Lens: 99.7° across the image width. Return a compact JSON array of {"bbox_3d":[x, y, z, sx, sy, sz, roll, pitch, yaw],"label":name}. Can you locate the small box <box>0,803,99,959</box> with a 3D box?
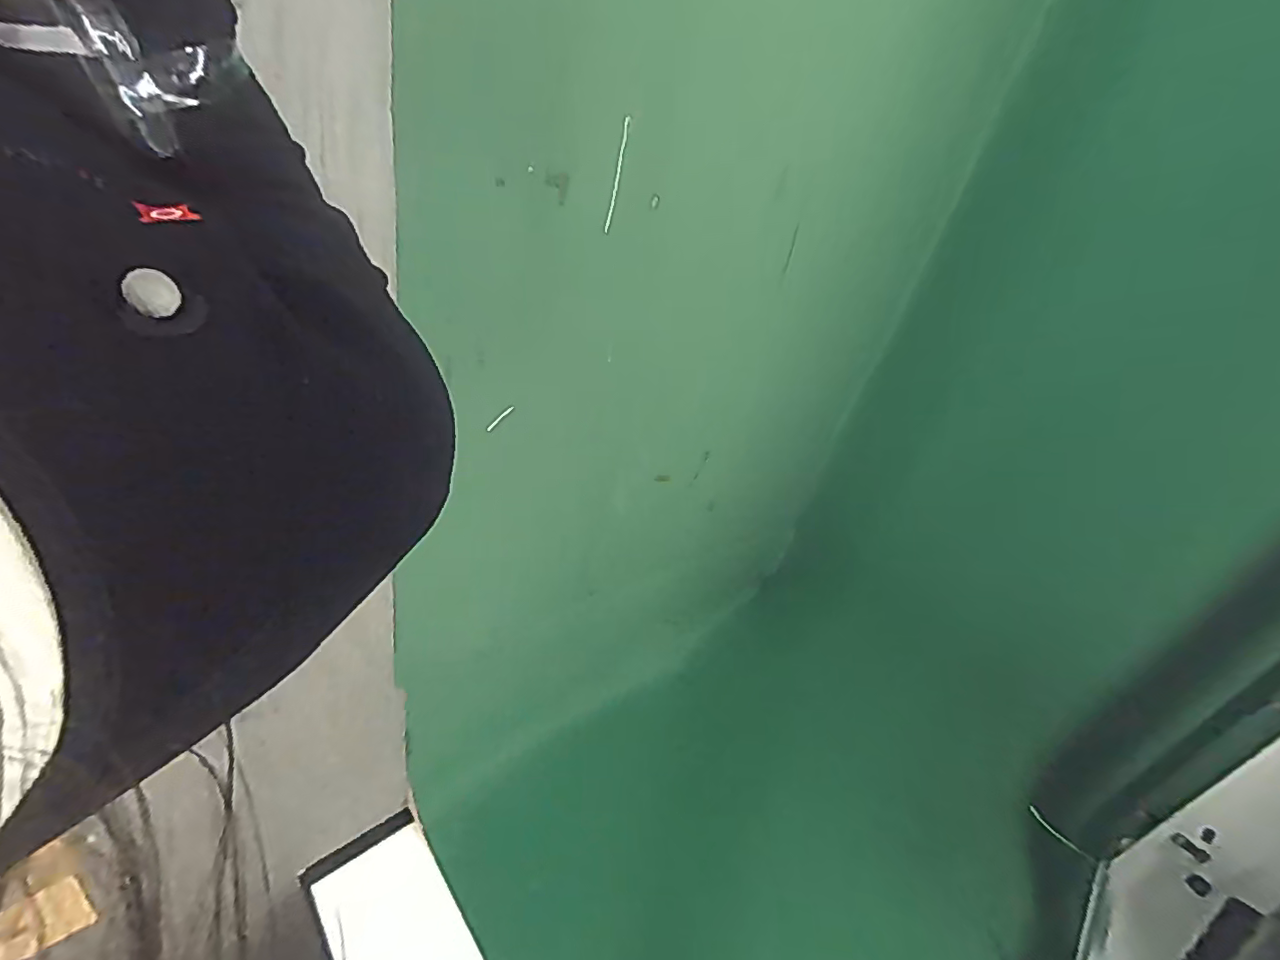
[{"bbox_3d":[-1.072,0.710,0.926,0.179,0.176,0.168,-17,130,-39],"label":"small box"}]

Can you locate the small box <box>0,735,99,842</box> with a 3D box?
[{"bbox_3d":[-1.174,0.627,1.025,0.179,0.176,0.168,-15,129,-40],"label":"small box"}]
